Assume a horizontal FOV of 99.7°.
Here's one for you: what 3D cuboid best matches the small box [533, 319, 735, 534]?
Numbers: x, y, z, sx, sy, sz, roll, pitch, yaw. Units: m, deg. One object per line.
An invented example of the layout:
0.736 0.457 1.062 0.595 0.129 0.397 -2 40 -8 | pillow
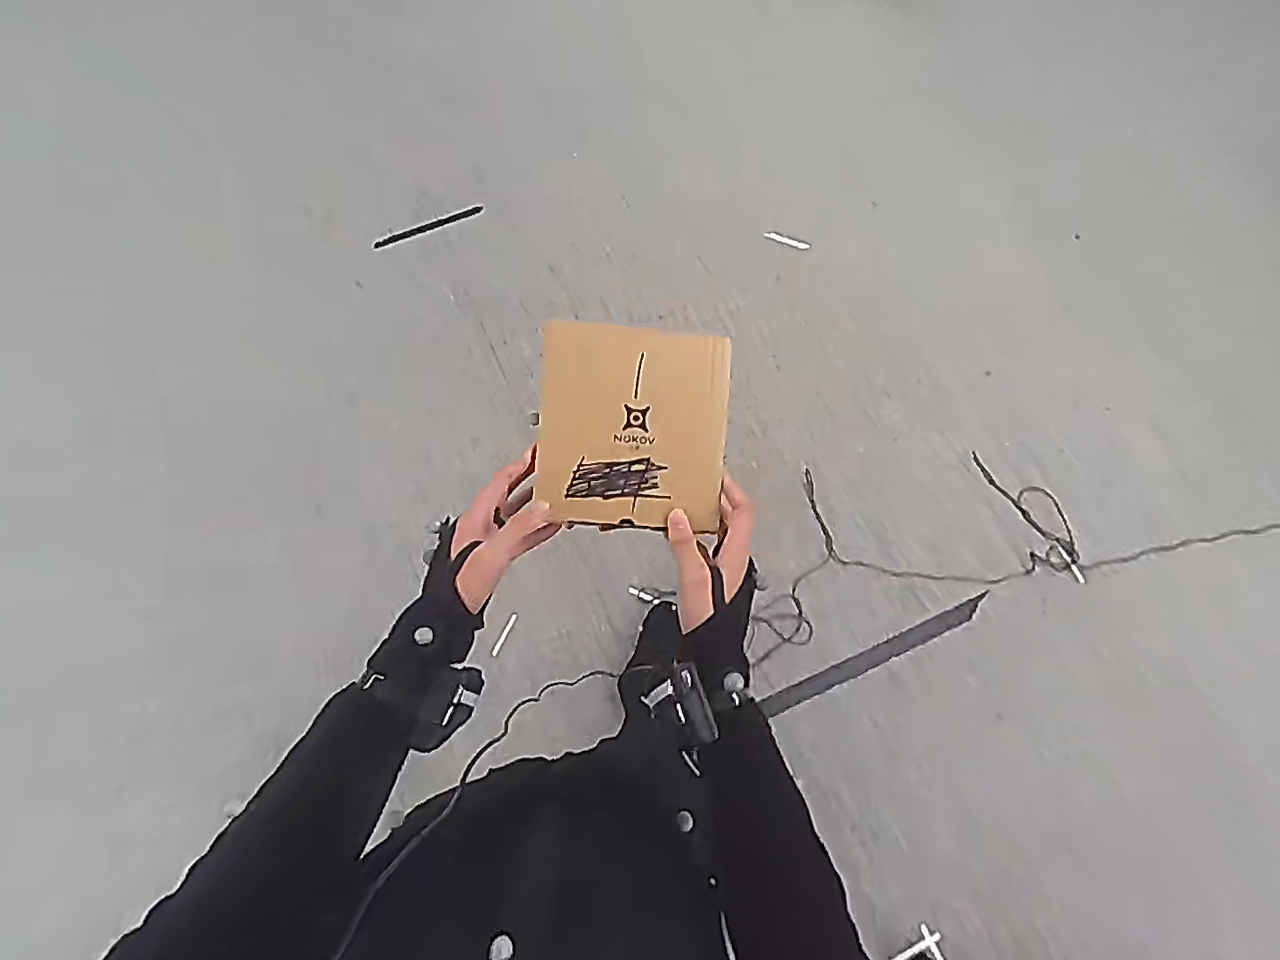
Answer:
-0.012 -0.045 0.553 0.168 0.176 0.179 5 88 -7 | small box
